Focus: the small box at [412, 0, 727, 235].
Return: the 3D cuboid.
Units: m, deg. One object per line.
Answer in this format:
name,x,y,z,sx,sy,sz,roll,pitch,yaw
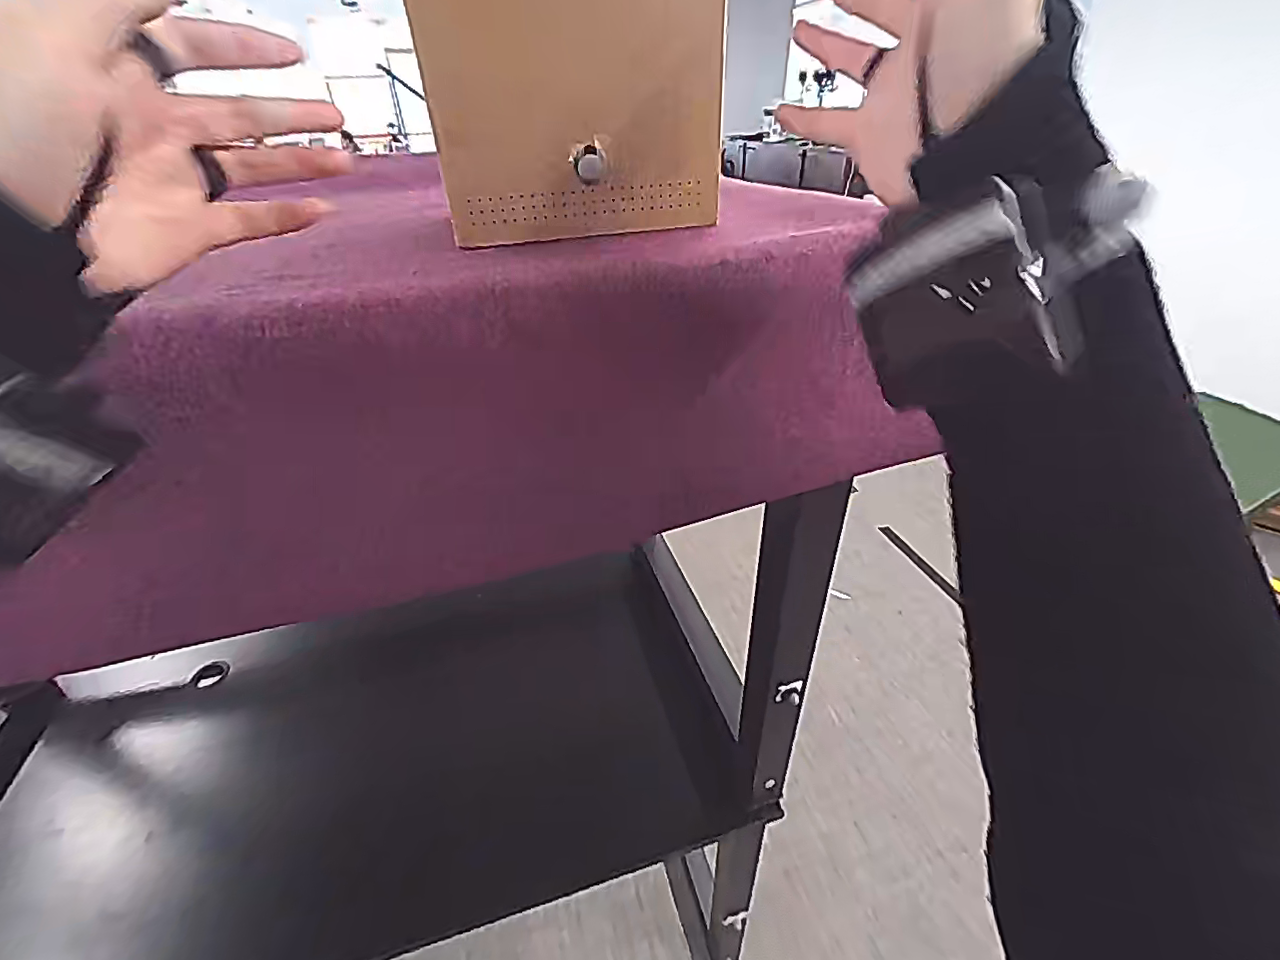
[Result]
small box,-0.049,-0.276,0.369,0.179,0.176,0.168,-10,34,-11
